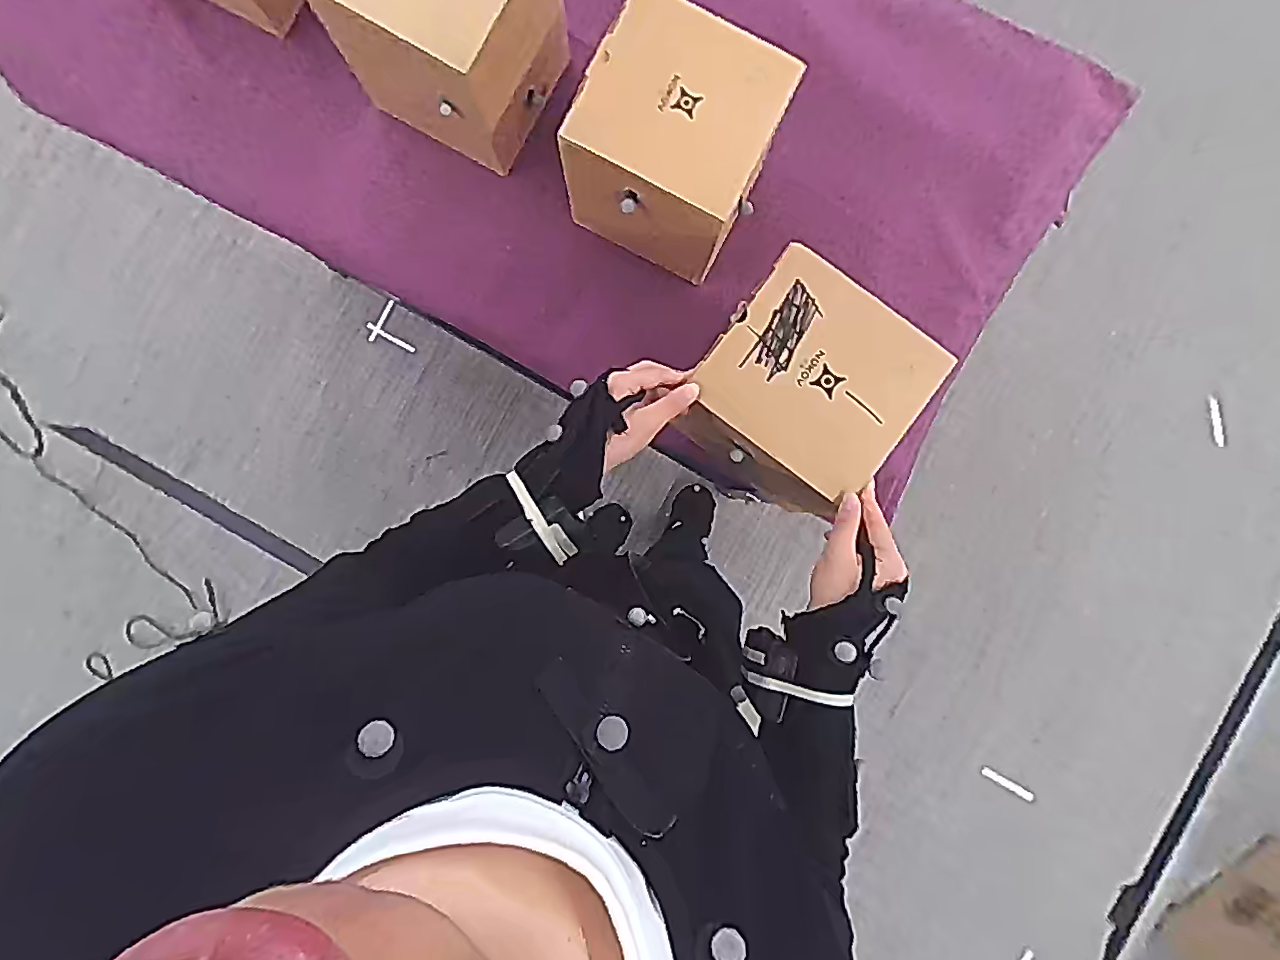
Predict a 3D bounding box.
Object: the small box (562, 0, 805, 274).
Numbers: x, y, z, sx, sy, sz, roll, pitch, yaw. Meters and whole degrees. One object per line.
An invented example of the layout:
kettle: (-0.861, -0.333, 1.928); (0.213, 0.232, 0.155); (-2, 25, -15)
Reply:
small box: (0.039, -0.346, 0.576); (0.179, 0.176, 0.168); (28, 89, -1)

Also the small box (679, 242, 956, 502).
small box: (0.155, -0.088, 0.542); (0.179, 0.176, 0.168); (37, 87, 1)

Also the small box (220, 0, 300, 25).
small box: (-0.451, -0.635, 0.558); (0.179, 0.176, 0.168); (27, 89, -4)
